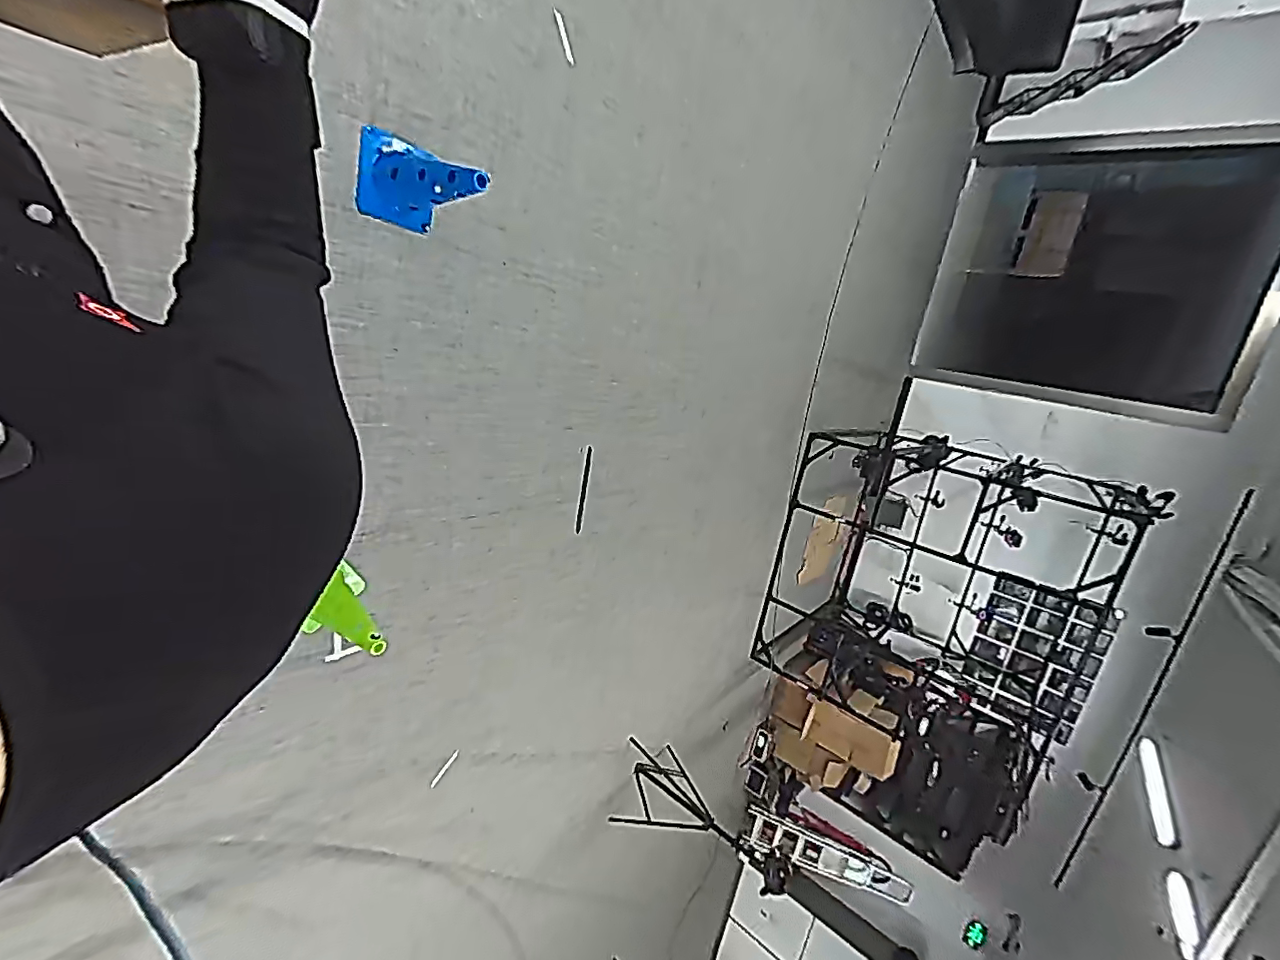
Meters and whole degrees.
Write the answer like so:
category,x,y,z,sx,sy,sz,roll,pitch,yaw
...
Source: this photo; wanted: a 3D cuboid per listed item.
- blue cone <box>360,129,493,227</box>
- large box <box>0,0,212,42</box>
category,x,y,z,sx,sy,sz,roll,pitch,yaw
blue cone,-0.494,-0.723,1.300,0.192,0.380,0.193,-3,110,-54
large box,-0.493,-0.481,0.241,0.408,0.320,0.320,-12,121,-53
